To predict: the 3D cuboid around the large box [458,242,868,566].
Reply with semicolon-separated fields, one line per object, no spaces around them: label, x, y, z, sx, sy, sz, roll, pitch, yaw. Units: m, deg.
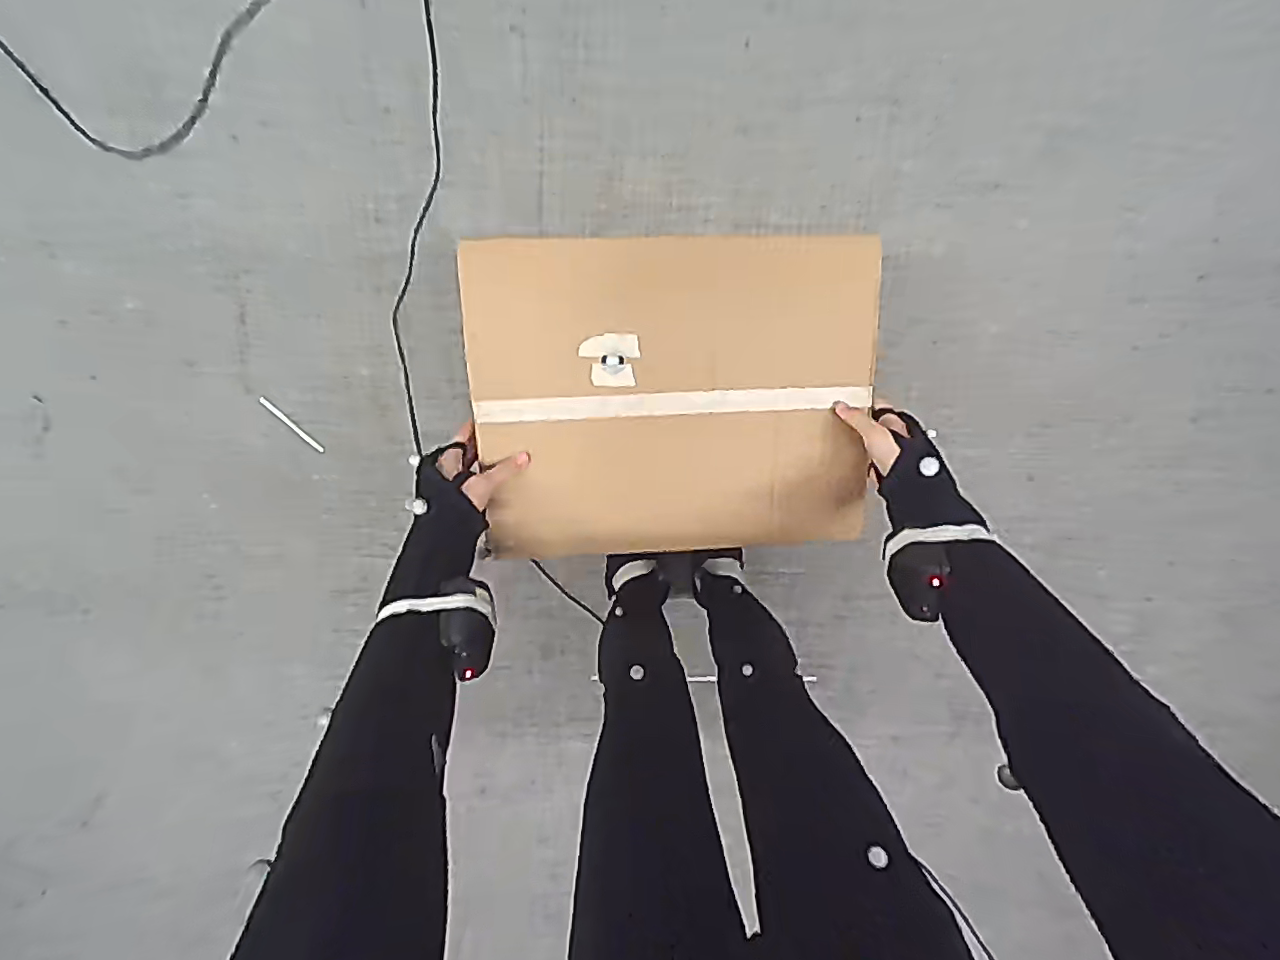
large box;0.023;-0.105;0.693;0.408;0.320;0.320;-3;103;-4
